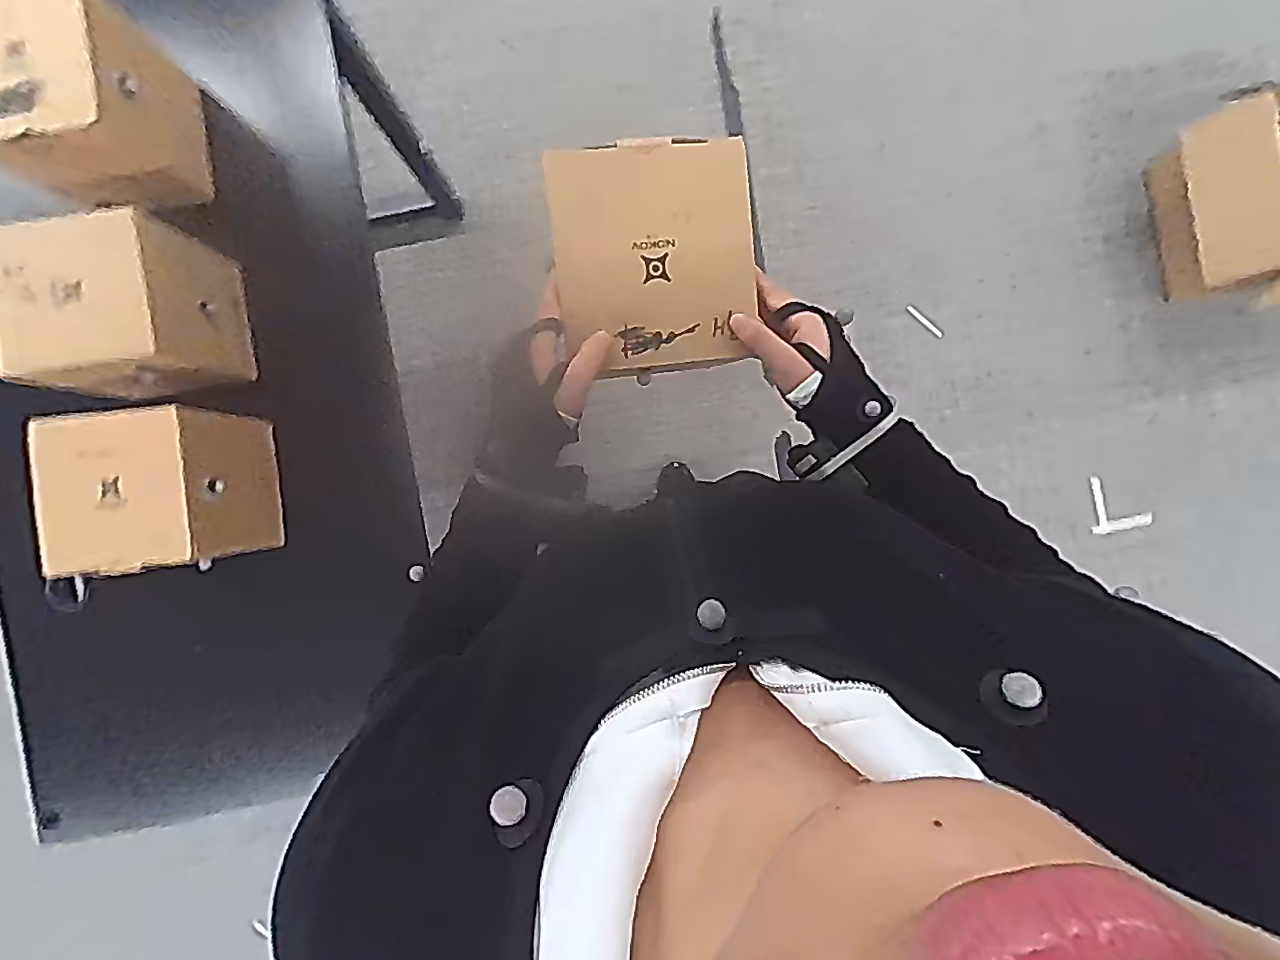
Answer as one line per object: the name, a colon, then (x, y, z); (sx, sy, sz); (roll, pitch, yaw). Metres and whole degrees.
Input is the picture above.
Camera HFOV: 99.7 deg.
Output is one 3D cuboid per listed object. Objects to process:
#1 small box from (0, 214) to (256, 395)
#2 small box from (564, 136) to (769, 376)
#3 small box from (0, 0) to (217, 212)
small box: (-0.631, -0.211, 0.692); (0.179, 0.176, 0.168); (-9, 90, 0)
small box: (0.017, -0.201, 0.530); (0.168, 0.176, 0.179); (-6, 98, -4)
small box: (-0.686, -0.466, 0.690); (0.168, 0.176, 0.179); (-9, 90, 0)
